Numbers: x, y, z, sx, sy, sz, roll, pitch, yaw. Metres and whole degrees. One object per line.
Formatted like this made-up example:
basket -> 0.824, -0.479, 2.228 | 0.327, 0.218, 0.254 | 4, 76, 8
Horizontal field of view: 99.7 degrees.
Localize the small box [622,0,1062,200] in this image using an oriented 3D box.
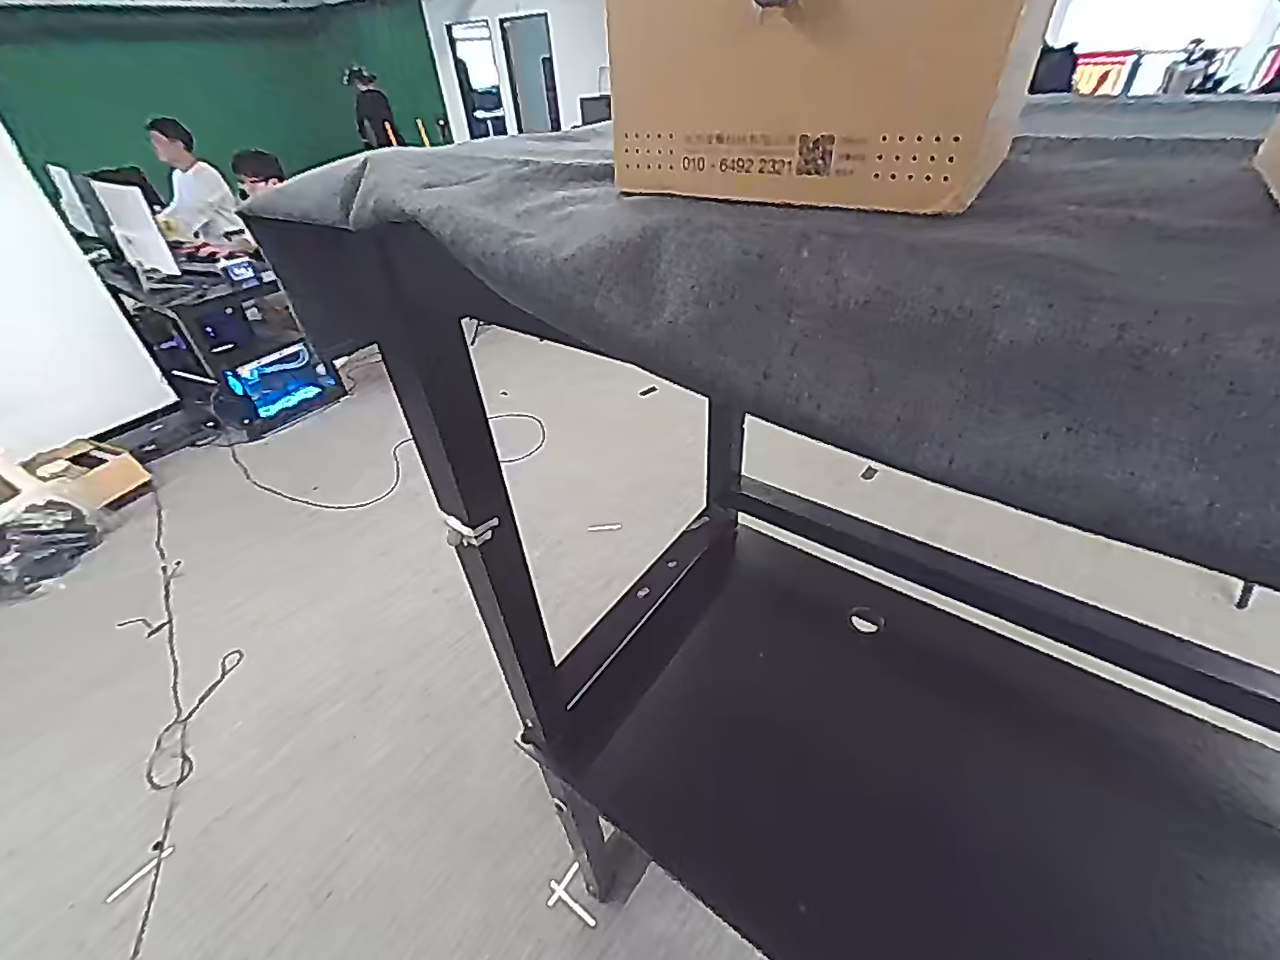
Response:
small box -> 0.101, -0.239, 0.249 | 0.168, 0.176, 0.179 | 20, 43, 26
